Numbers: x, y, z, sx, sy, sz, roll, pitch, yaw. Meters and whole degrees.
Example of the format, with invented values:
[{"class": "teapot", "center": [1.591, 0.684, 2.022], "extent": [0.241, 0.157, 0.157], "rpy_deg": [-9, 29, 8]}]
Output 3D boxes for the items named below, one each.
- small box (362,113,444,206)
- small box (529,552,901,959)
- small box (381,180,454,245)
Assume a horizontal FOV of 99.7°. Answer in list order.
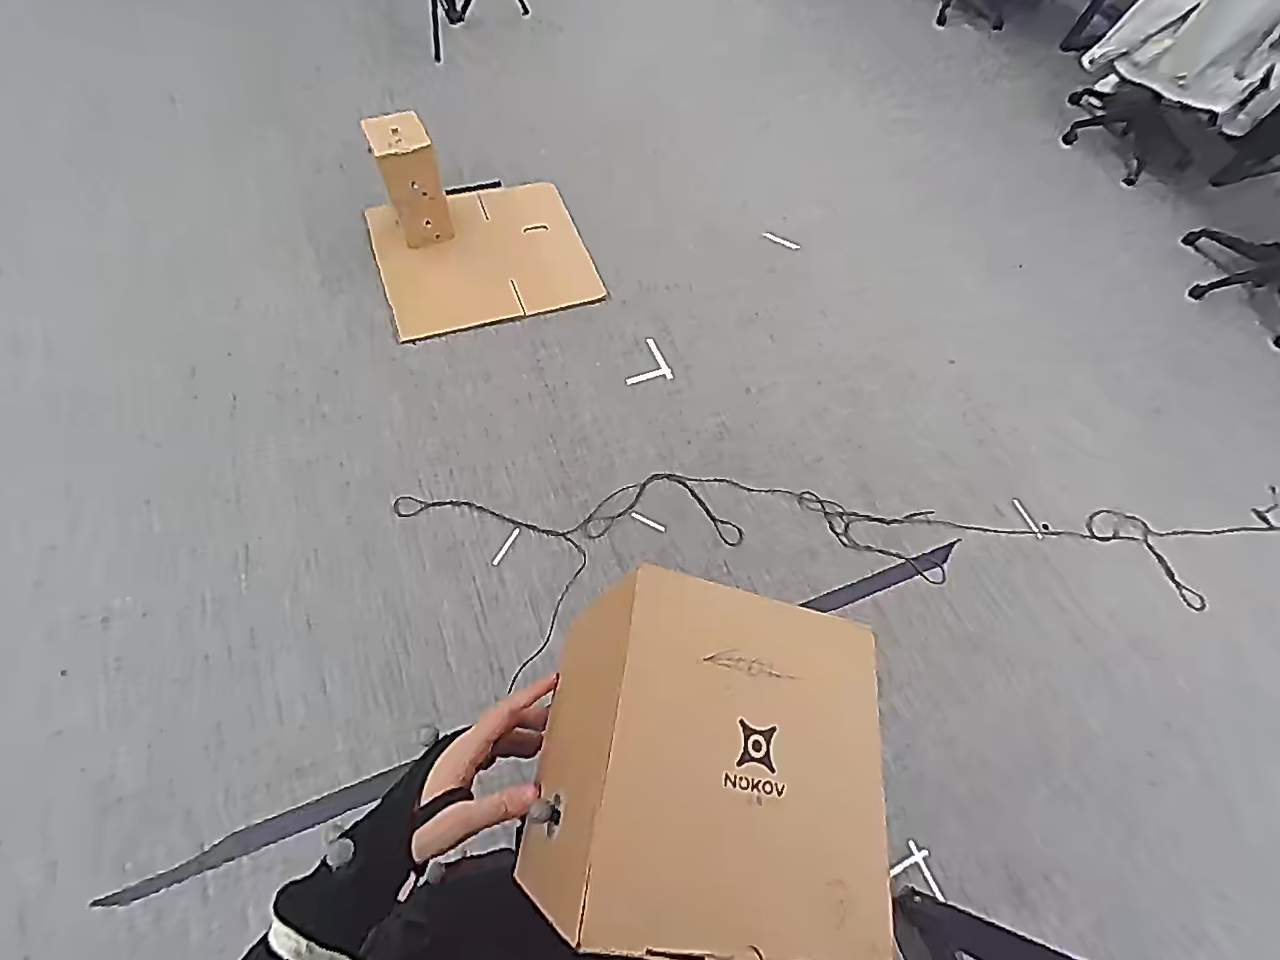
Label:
[{"class": "small box", "center": [-0.730, -0.991, 1.675], "extent": [0.168, 0.176, 0.179], "rpy_deg": [-23, 70, -16]}, {"class": "small box", "center": [0.035, 0.172, 0.351], "extent": [0.168, 0.176, 0.179], "rpy_deg": [18, 59, -15]}, {"class": "small box", "center": [-0.745, -0.921, 1.823], "extent": [0.168, 0.176, 0.179], "rpy_deg": [-25, 71, -18]}]
